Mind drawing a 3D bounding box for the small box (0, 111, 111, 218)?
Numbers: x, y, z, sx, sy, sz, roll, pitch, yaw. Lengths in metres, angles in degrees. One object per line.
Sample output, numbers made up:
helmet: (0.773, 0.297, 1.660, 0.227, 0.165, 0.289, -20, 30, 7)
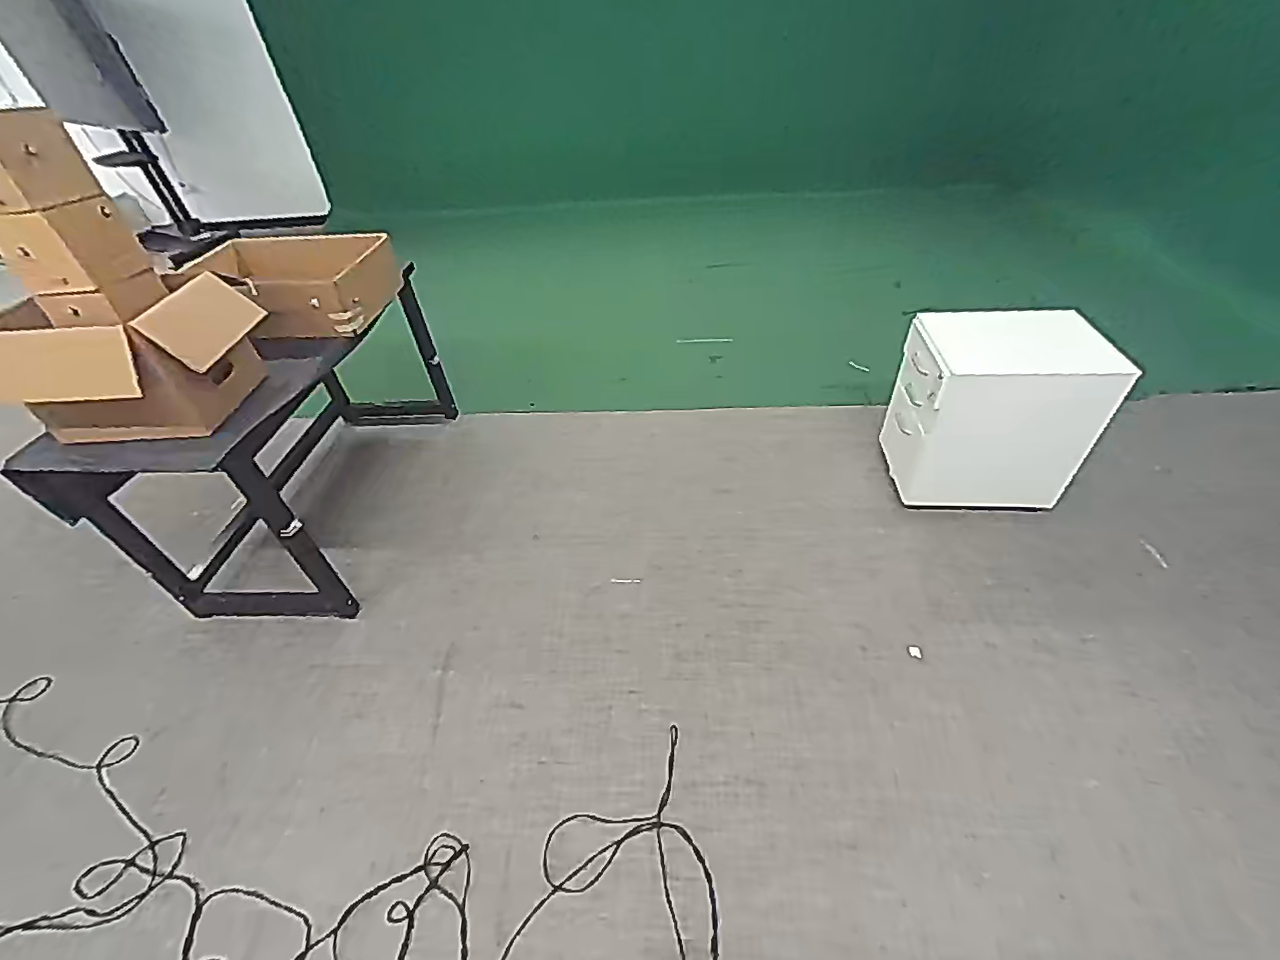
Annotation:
small box: (-1.297, -0.657, 1.135, 0.168, 0.176, 0.179, 0, 39, 8)

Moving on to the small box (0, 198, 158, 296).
small box: (-1.279, -0.529, 1.237, 0.168, 0.176, 0.179, -1, 38, 7)
